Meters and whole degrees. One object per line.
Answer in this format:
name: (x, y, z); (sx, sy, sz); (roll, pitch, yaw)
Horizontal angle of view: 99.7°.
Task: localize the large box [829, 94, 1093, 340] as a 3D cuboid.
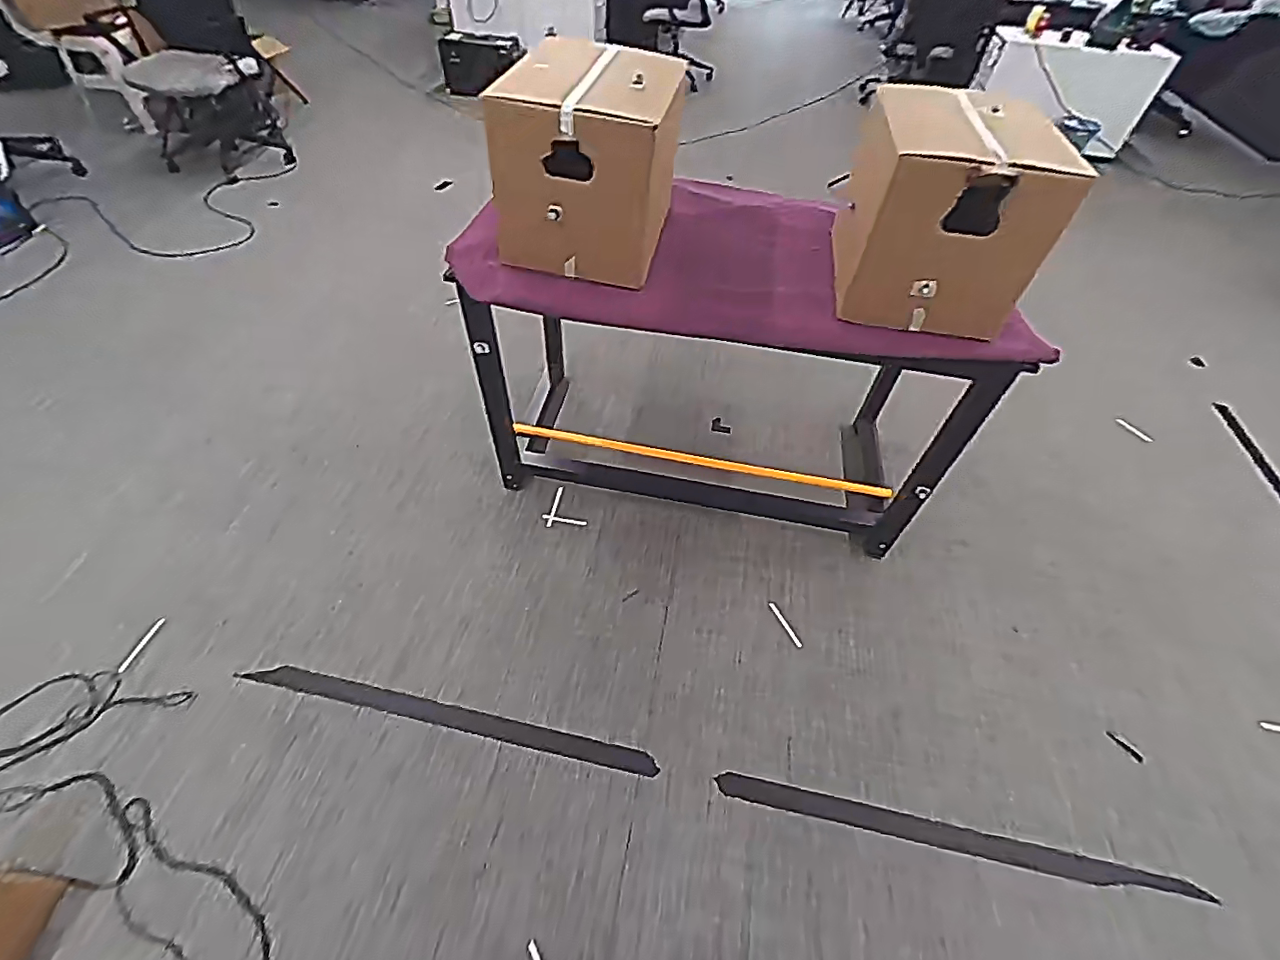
large box: (0.590, -0.535, 1.098); (0.320, 0.320, 0.408); (10, 49, 4)
